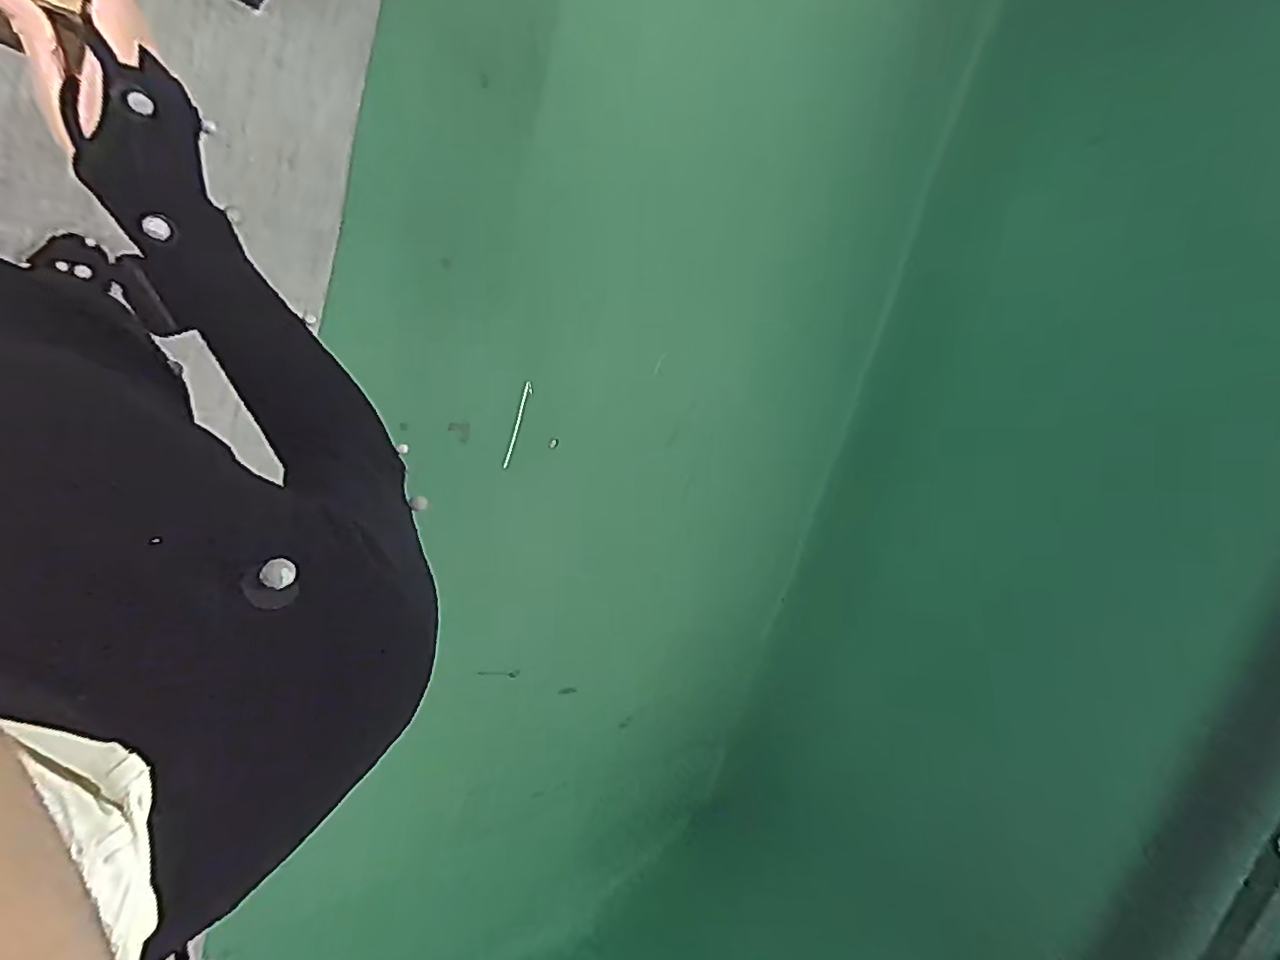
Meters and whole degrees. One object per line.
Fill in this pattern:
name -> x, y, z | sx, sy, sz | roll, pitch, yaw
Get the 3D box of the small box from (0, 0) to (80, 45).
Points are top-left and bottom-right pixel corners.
small box -> -0.447, -0.408, 0.318 | 0.168, 0.176, 0.179 | 3, 105, -46
